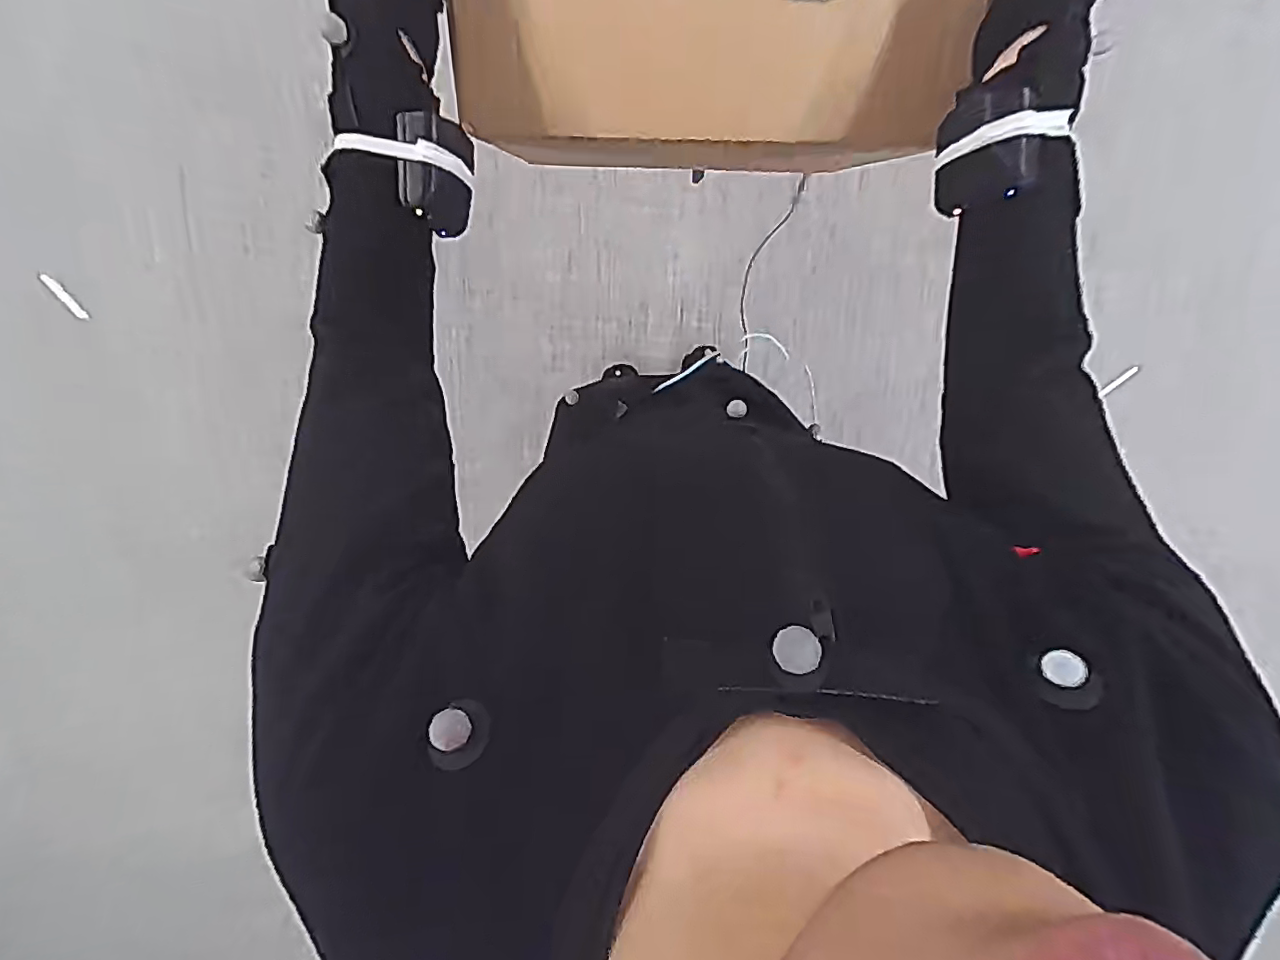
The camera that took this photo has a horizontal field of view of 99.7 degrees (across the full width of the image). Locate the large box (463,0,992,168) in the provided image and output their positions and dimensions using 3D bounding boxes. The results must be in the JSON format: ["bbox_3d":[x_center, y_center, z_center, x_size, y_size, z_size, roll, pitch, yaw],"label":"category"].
[{"bbox_3d":[0.062,-0.484,0.505,0.408,0.320,0.320,1,116,-2],"label":"large box"}]
